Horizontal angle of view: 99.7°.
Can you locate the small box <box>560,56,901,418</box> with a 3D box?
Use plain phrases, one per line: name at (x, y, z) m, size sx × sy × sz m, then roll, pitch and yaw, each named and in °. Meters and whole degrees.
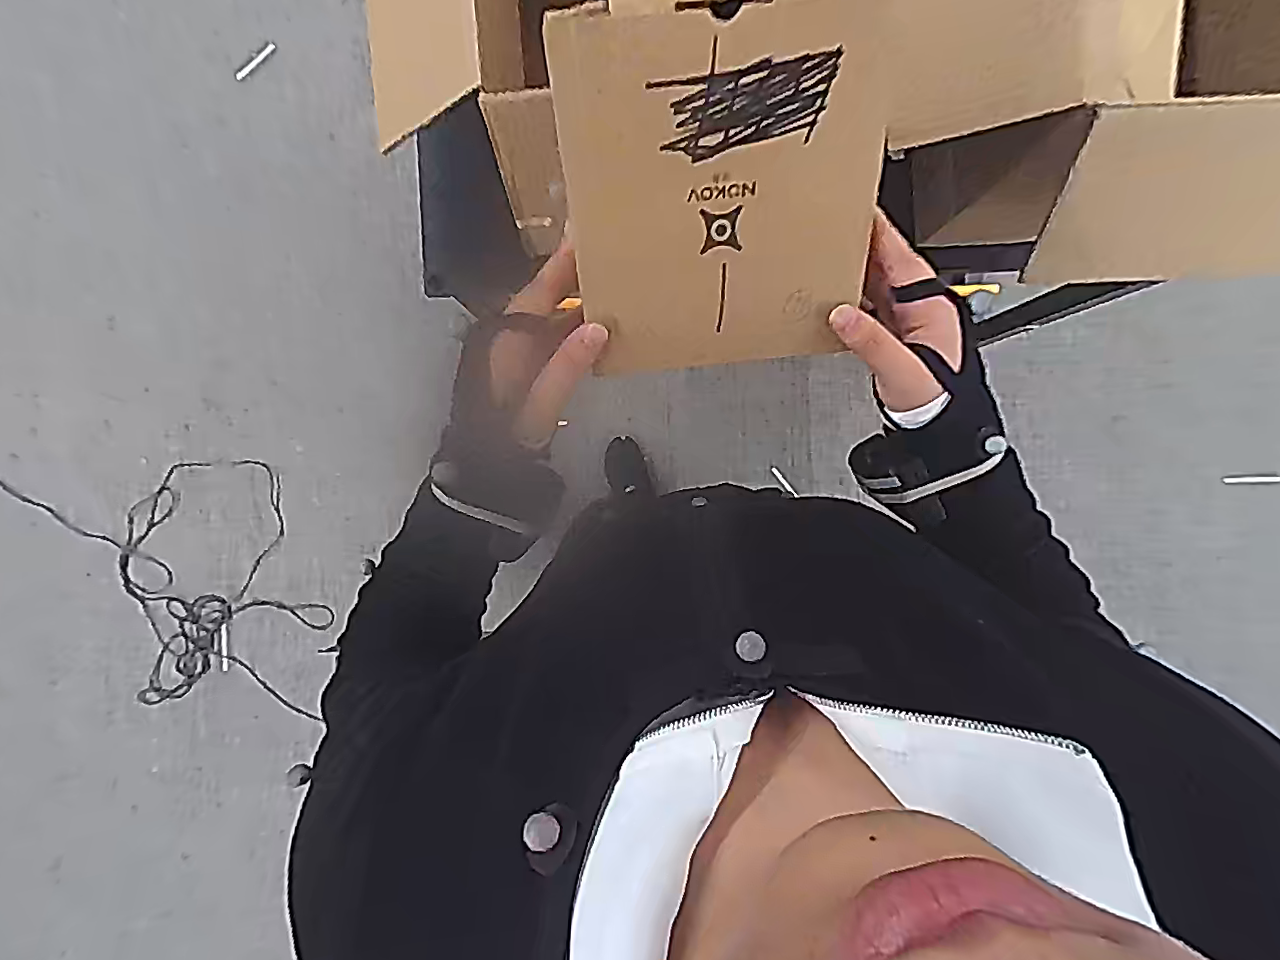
small box at (0.041, -0.163, 0.362) m, size 0.168 × 0.176 × 0.179 m, roll -6°, pitch 127°, yaw 0°
